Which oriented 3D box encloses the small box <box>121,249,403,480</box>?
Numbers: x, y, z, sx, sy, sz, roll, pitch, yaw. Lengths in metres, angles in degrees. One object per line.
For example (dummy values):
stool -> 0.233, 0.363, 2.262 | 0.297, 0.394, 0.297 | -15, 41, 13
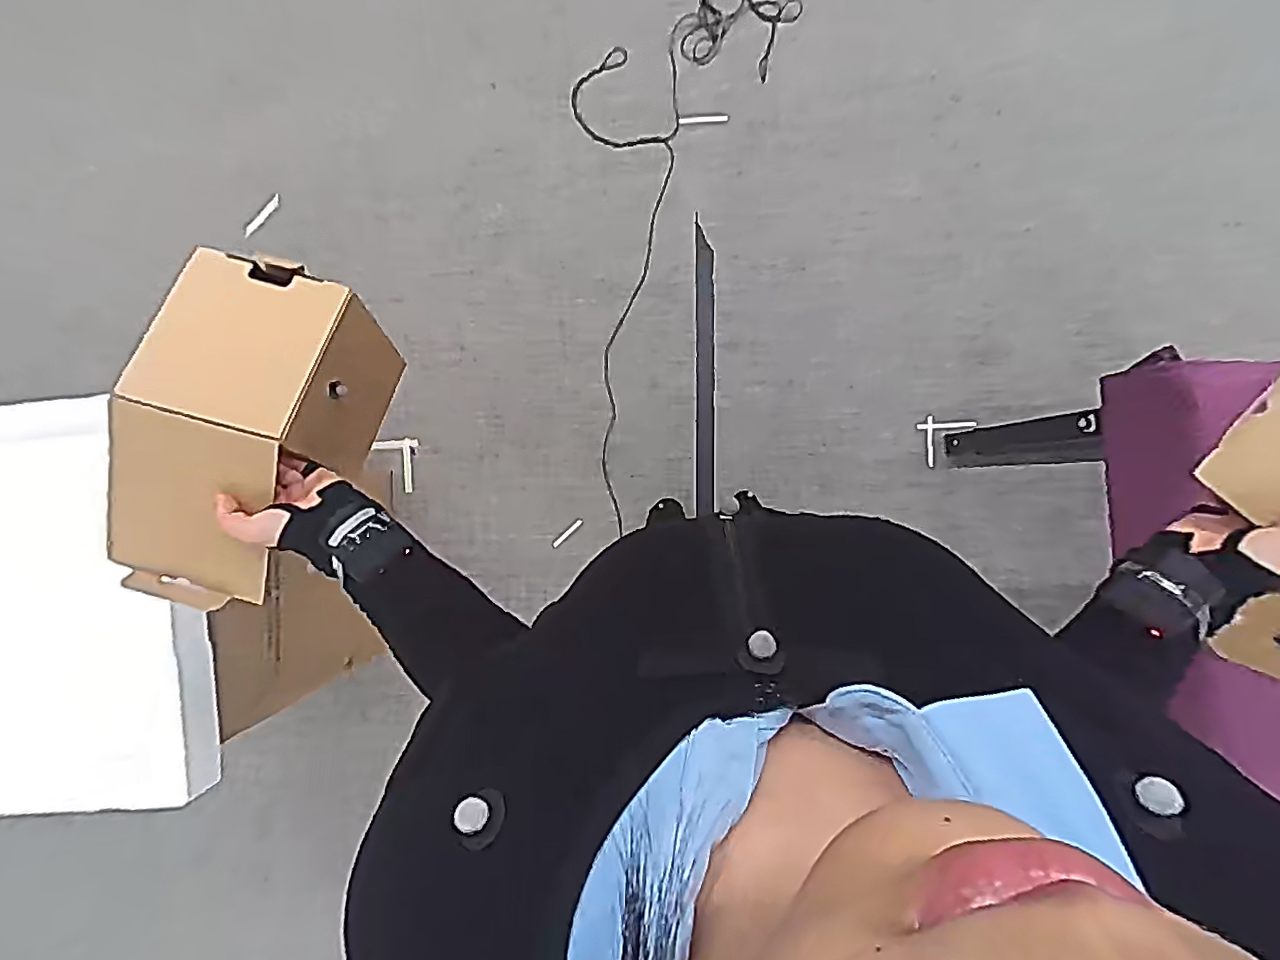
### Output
small box -> -0.396, -0.115, 0.608 | 0.168, 0.176, 0.179 | 16, 74, 0
